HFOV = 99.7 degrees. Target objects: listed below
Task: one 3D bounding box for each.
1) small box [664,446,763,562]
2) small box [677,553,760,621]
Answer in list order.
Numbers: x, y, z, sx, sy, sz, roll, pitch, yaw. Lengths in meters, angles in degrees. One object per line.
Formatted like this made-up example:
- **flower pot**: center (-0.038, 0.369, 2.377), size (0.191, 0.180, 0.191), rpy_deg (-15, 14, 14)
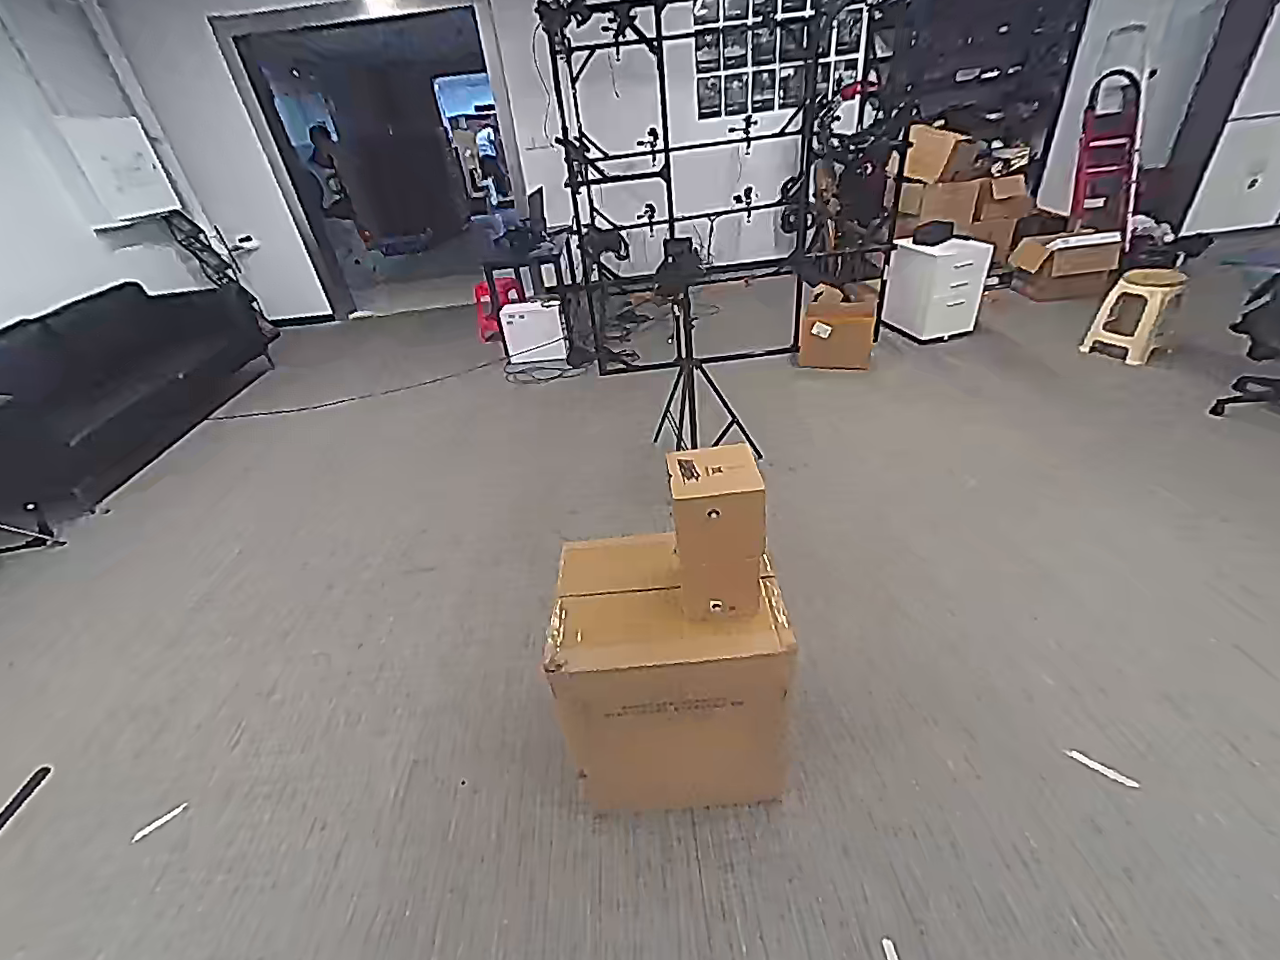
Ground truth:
- **small box**: center (0.149, 0.052, 1.104), size (0.179, 0.176, 0.168), rpy_deg (-7, 35, 2)
- **small box**: center (0.167, 0.186, 1.199), size (0.168, 0.176, 0.179), rpy_deg (-8, 36, 3)
